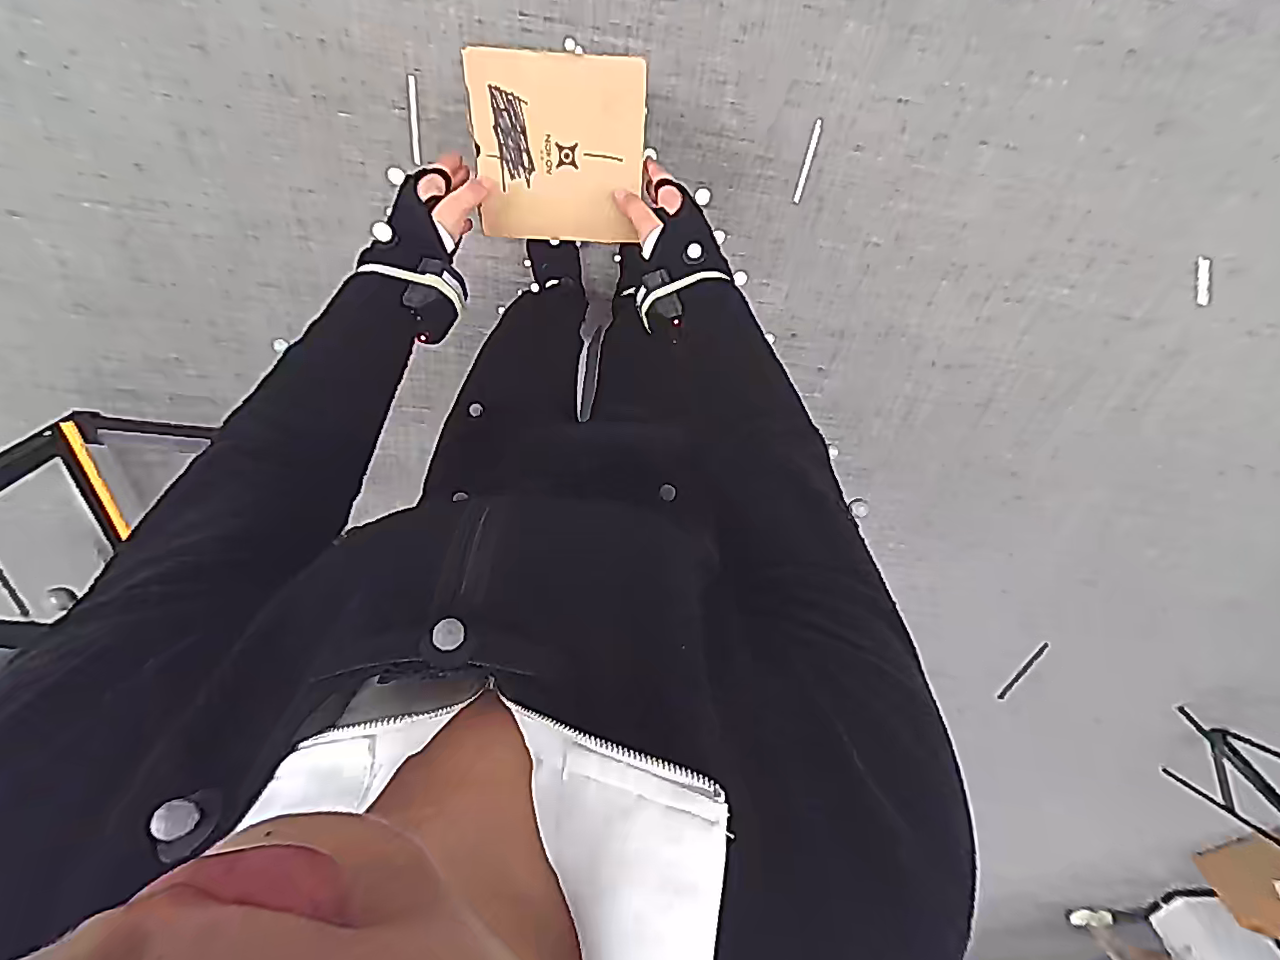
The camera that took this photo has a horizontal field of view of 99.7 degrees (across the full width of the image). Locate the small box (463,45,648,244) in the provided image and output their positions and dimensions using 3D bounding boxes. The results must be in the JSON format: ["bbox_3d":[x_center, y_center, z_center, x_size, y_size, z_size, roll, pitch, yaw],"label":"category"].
[{"bbox_3d":[-0.084,-0.376,0.613,0.179,0.176,0.168,2,125,-2],"label":"small box"}]
